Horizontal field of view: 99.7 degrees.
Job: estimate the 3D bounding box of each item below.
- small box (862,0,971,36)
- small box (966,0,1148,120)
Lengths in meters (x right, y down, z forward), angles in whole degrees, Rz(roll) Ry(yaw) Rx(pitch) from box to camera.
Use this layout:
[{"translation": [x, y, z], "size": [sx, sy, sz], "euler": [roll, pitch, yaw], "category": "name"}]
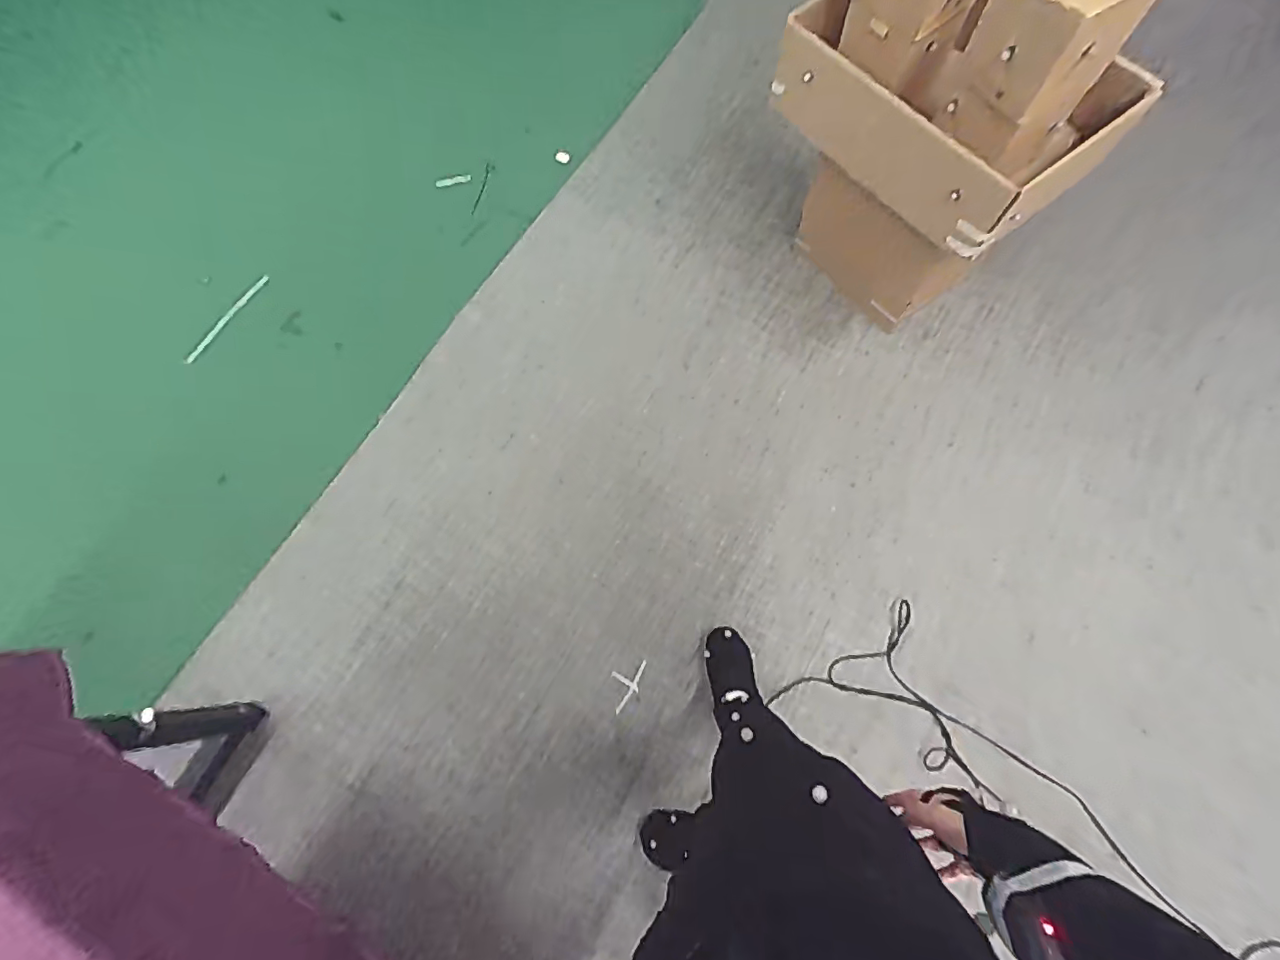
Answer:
[{"translation": [0.527, -0.969, 0.984], "size": [0.168, 0.176, 0.179], "euler": [-37, 75, -8], "category": "small box"}, {"translation": [0.686, -0.752, 0.901], "size": [0.179, 0.176, 0.168], "euler": [-30, 73, -6], "category": "small box"}]
